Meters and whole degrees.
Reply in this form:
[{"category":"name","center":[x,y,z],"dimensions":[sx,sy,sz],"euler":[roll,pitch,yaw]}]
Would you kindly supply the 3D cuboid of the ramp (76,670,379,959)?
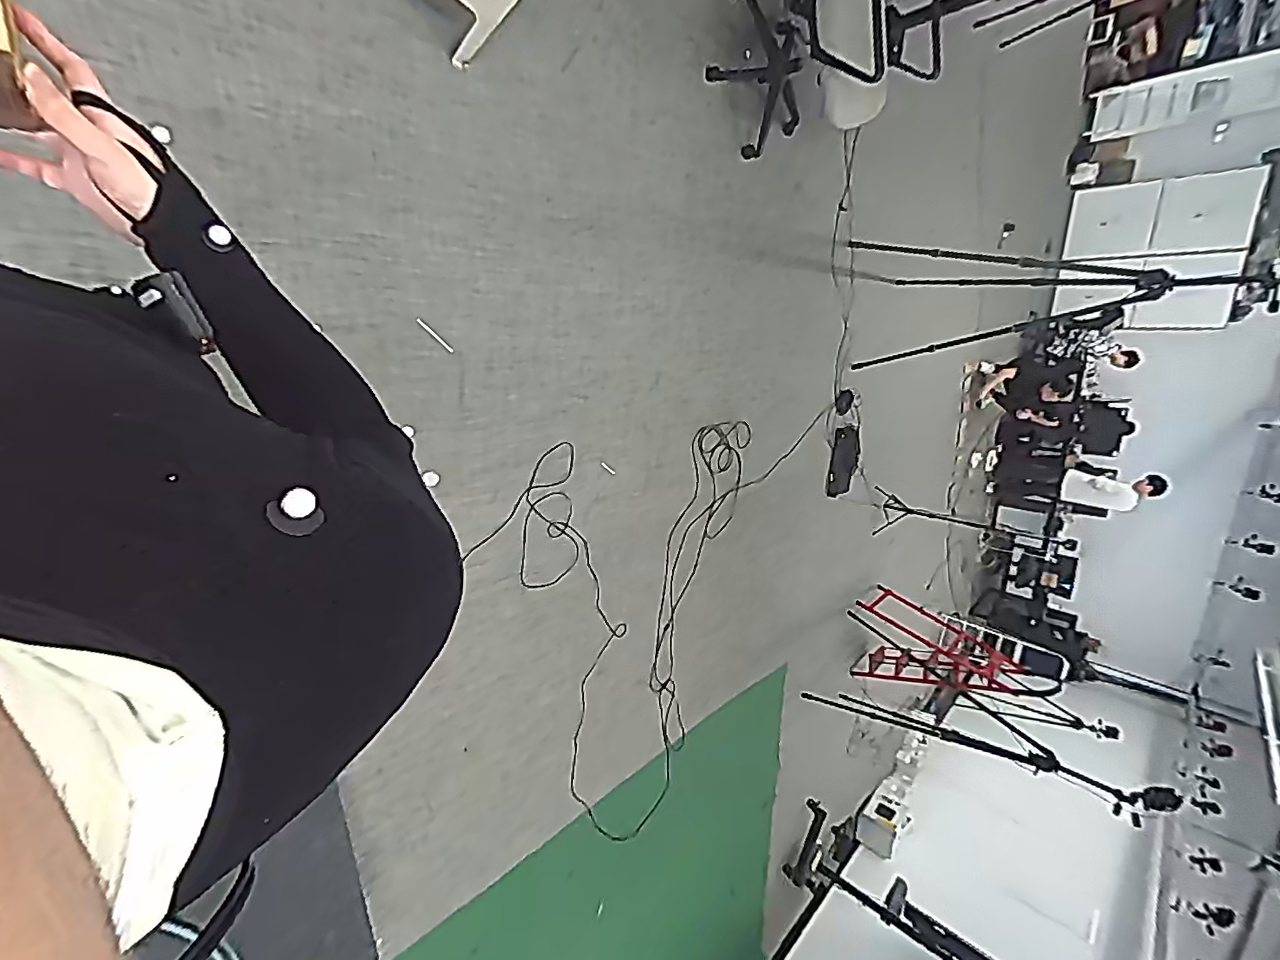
[{"category":"ramp","center":[-1.072,1.080,1.482],"dimensions":[0.509,0.206,0.991],"euler":[-17,112,-41]}]
